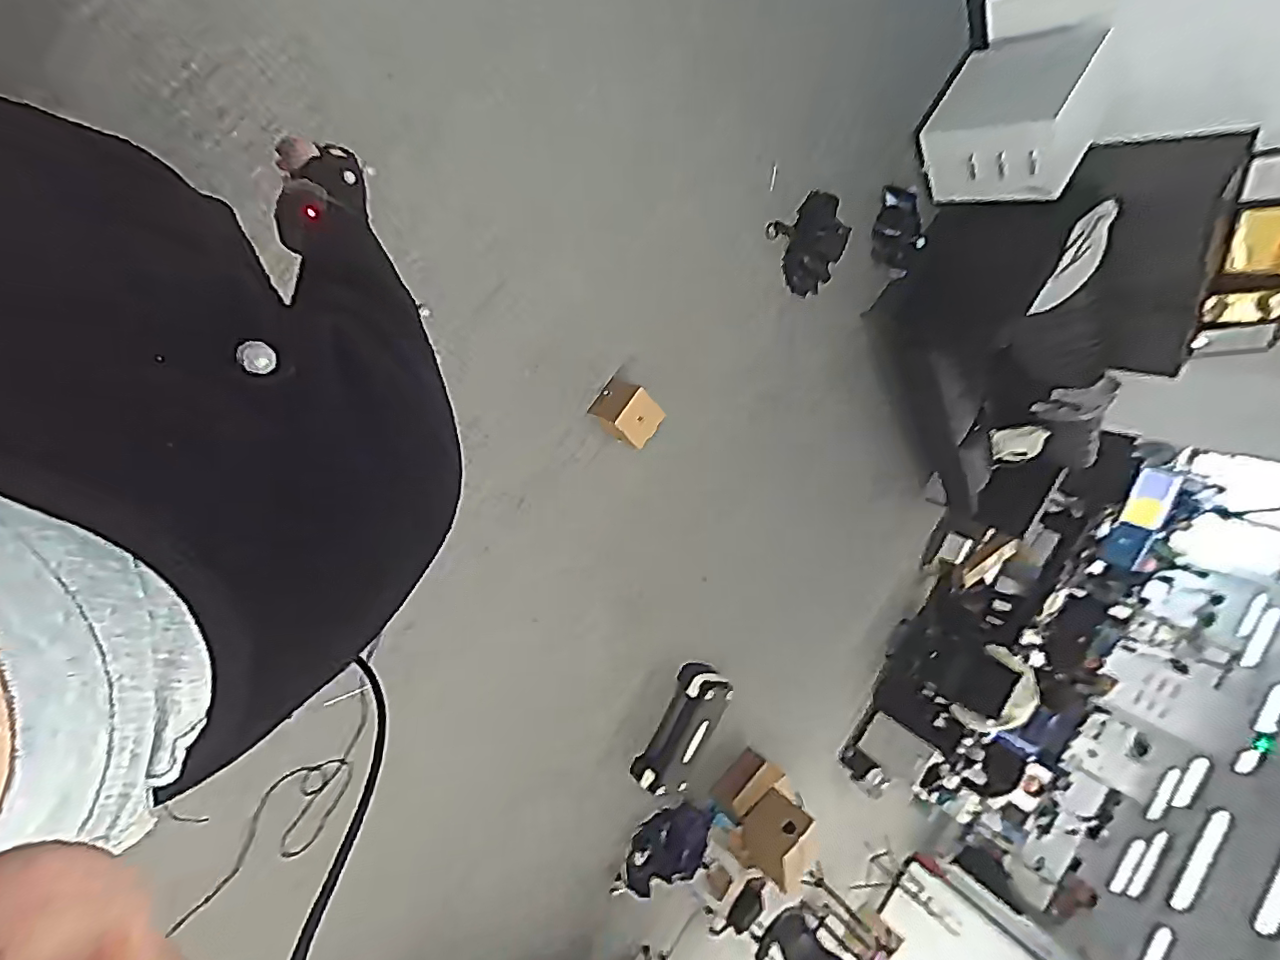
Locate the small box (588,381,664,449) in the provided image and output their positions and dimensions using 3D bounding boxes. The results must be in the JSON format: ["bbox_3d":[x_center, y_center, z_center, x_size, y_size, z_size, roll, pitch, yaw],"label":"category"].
[{"bbox_3d":[-0.053,-0.240,1.956,0.179,0.176,0.168,41,78,-43],"label":"small box"}]
